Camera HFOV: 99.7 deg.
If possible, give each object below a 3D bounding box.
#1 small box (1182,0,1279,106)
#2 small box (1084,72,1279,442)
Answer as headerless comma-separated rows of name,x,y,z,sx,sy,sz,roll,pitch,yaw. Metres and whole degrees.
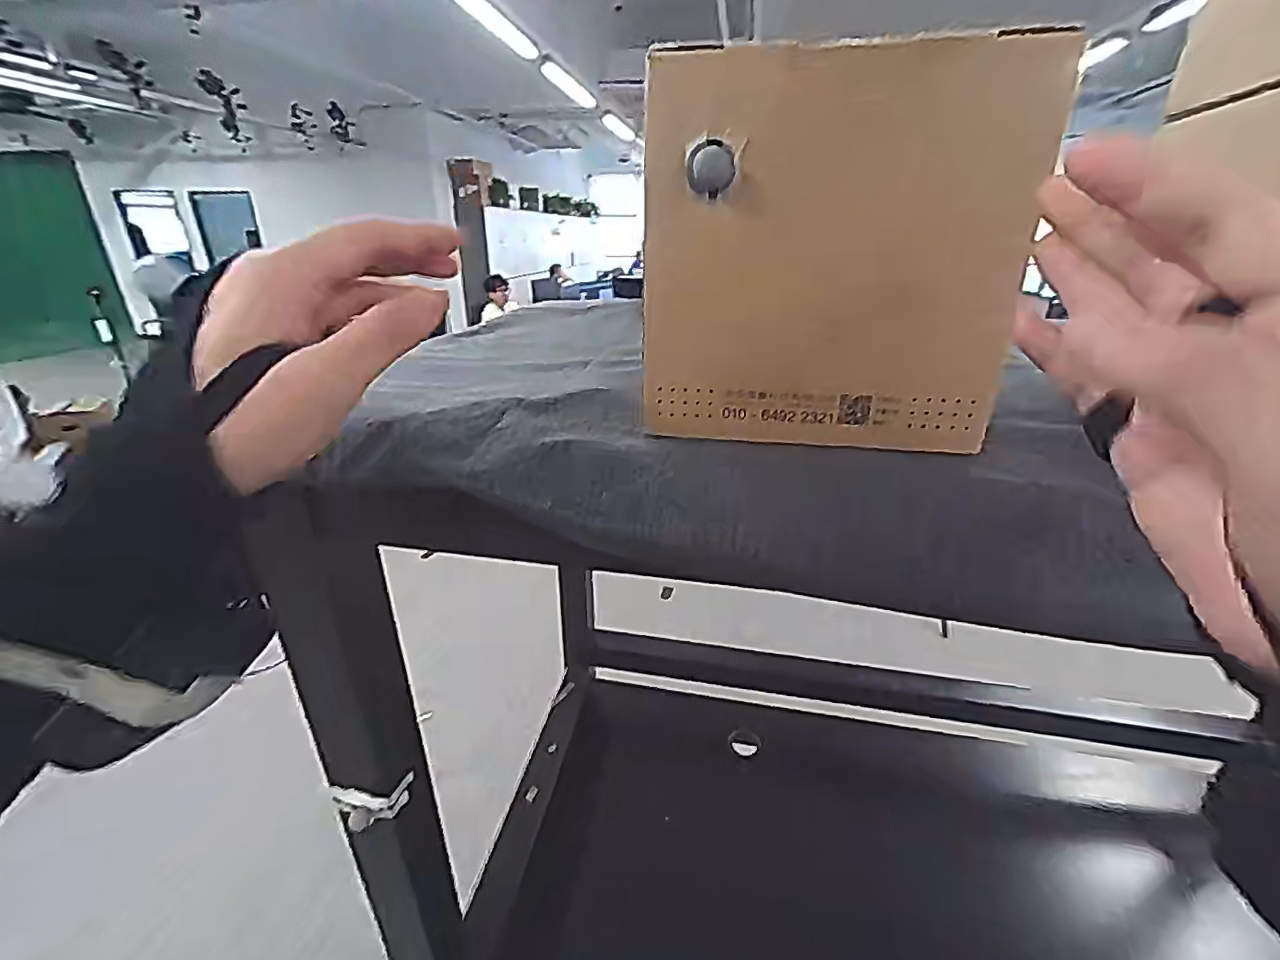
small box,0.382,-0.258,0.209,0.168,0.176,0.179,4,24,11
small box,0.379,-0.107,0.270,0.168,0.176,0.179,5,22,10
